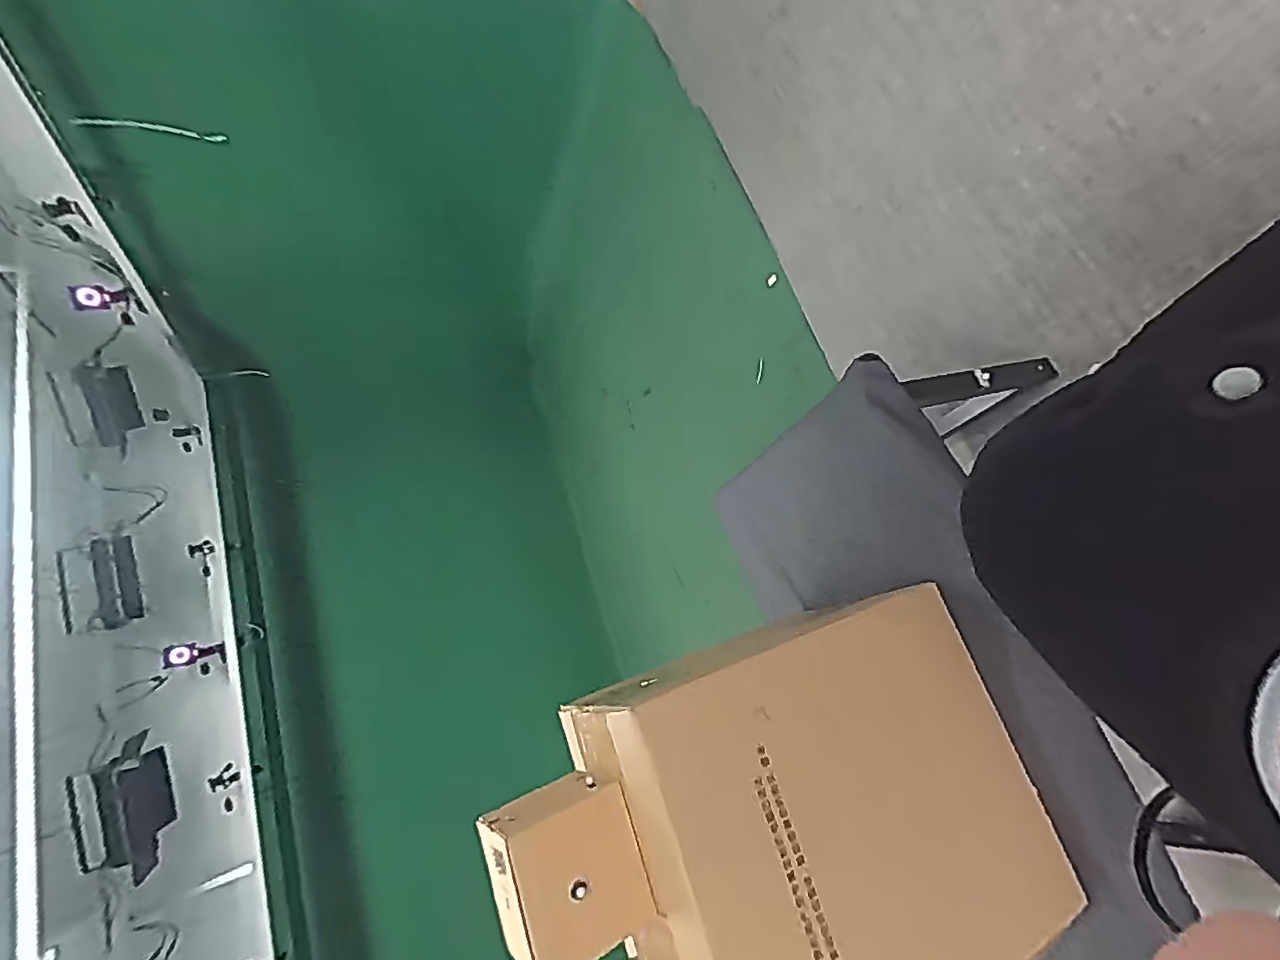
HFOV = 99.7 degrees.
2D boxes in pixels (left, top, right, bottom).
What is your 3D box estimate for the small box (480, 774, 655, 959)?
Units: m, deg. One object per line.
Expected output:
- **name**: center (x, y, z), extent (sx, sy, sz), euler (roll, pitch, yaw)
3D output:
- **small box**: center (-0.106, 0.539, 0.758), extent (0.168, 0.176, 0.179), euler (-40, 66, 55)
